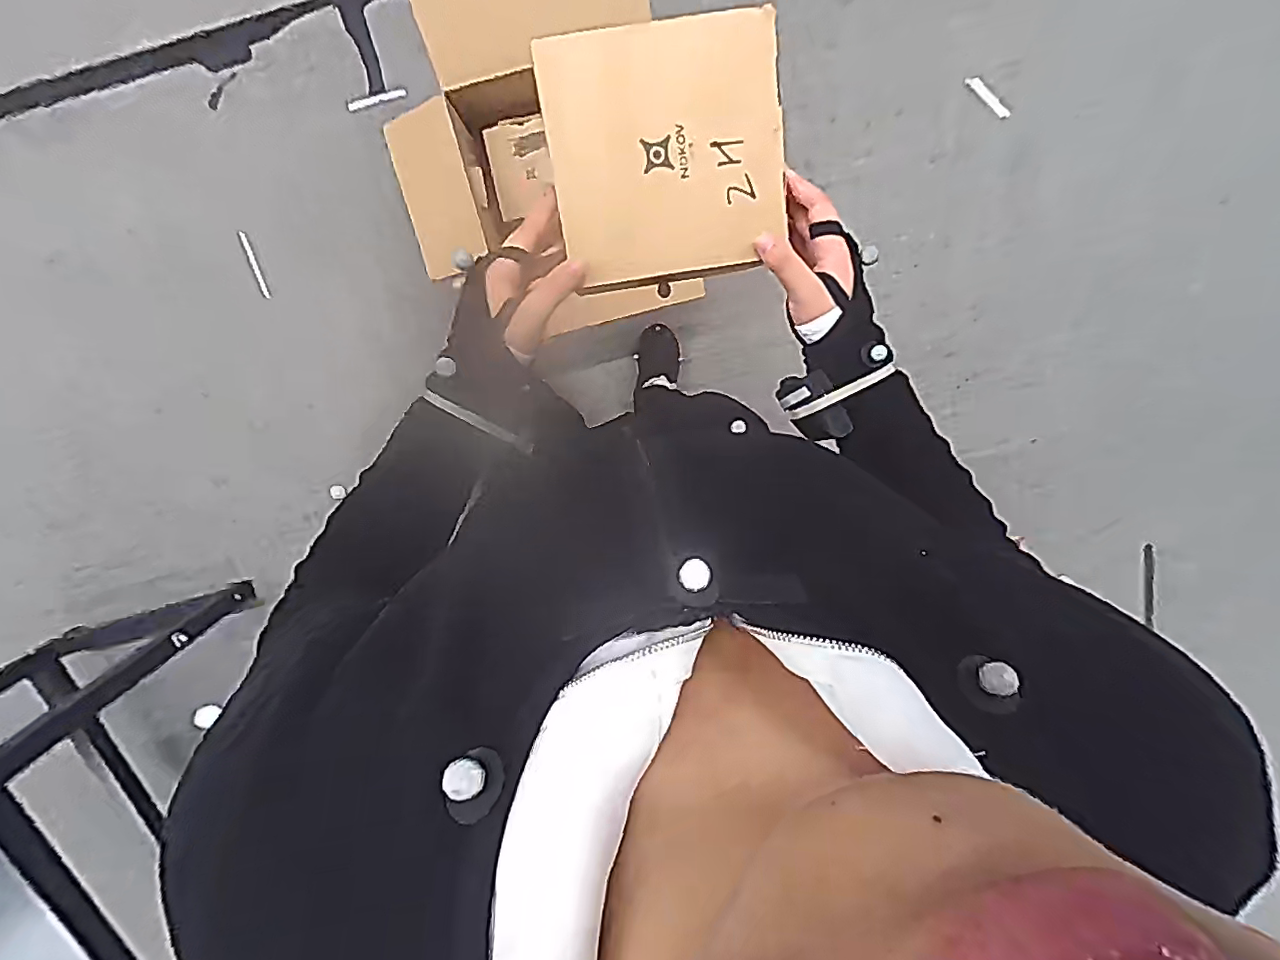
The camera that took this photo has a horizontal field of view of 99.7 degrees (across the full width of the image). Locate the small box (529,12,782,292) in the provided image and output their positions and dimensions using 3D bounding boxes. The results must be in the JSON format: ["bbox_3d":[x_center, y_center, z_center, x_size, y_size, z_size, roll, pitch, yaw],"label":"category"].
[{"bbox_3d":[0.012,-0.266,0.482,0.179,0.176,0.168,-10,108,-2],"label":"small box"}]
